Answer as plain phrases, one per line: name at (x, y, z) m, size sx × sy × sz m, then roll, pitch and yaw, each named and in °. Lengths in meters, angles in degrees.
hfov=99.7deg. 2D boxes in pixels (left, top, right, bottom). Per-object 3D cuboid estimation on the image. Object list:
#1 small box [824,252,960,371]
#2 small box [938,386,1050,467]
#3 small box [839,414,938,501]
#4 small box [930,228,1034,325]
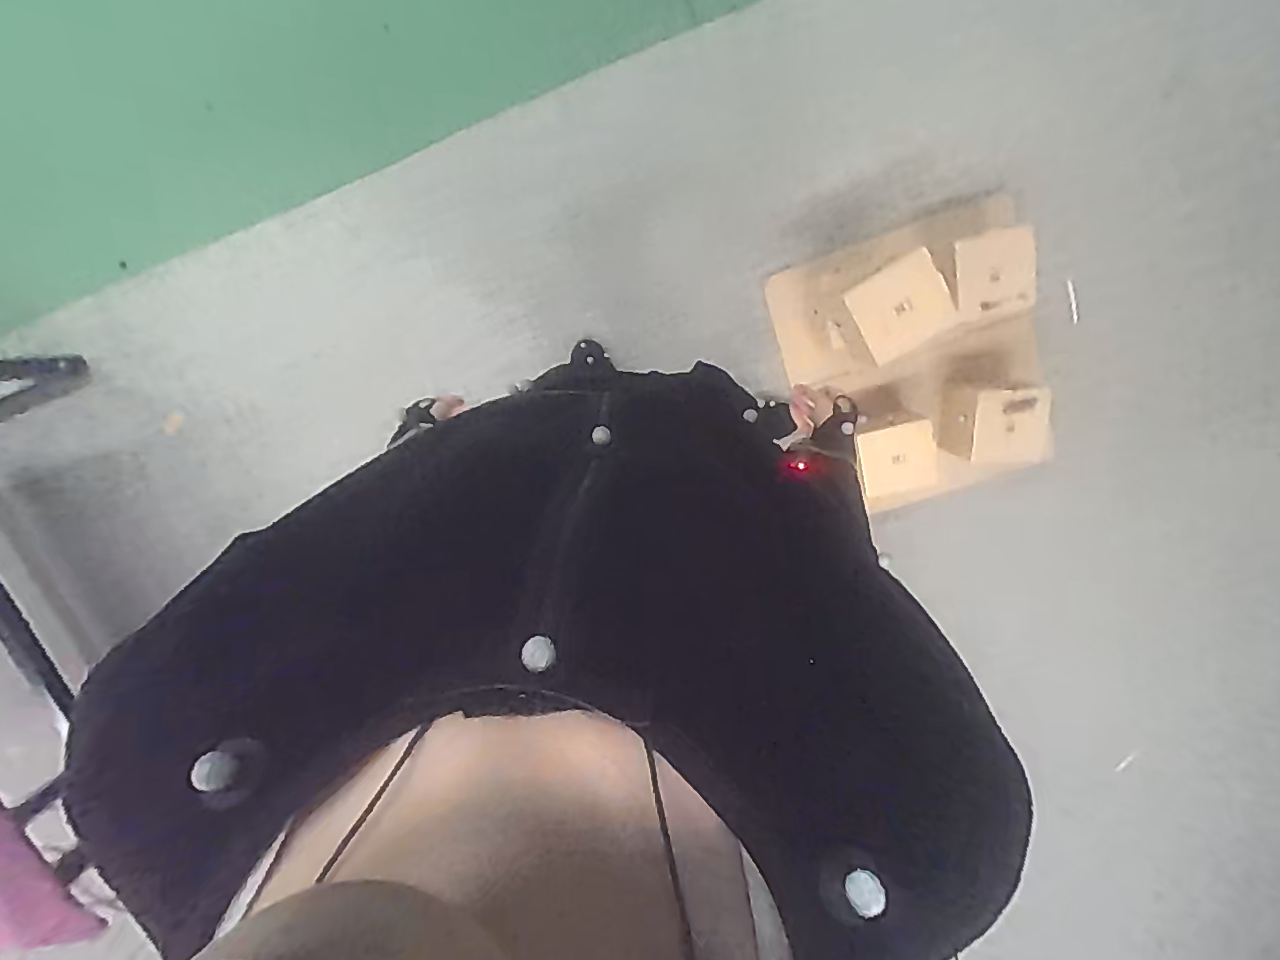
small box at (0.515, -0.347, 1.129) m, size 0.179 × 0.176 × 0.168 m, roll -30°, pitch 101°, yaw 10°
small box at (0.861, -0.137, 1.334) m, size 0.168 × 0.176 × 0.179 m, roll -2°, pitch 106°, yaw 3°
small box at (0.618, -0.062, 1.368) m, size 0.179 × 0.176 × 0.168 m, roll -14°, pitch 104°, yaw 6°
small box at (0.776, -0.460, 1.256) m, size 0.168 × 0.176 × 0.179 m, roll -11°, pitch 104°, yaw 6°
